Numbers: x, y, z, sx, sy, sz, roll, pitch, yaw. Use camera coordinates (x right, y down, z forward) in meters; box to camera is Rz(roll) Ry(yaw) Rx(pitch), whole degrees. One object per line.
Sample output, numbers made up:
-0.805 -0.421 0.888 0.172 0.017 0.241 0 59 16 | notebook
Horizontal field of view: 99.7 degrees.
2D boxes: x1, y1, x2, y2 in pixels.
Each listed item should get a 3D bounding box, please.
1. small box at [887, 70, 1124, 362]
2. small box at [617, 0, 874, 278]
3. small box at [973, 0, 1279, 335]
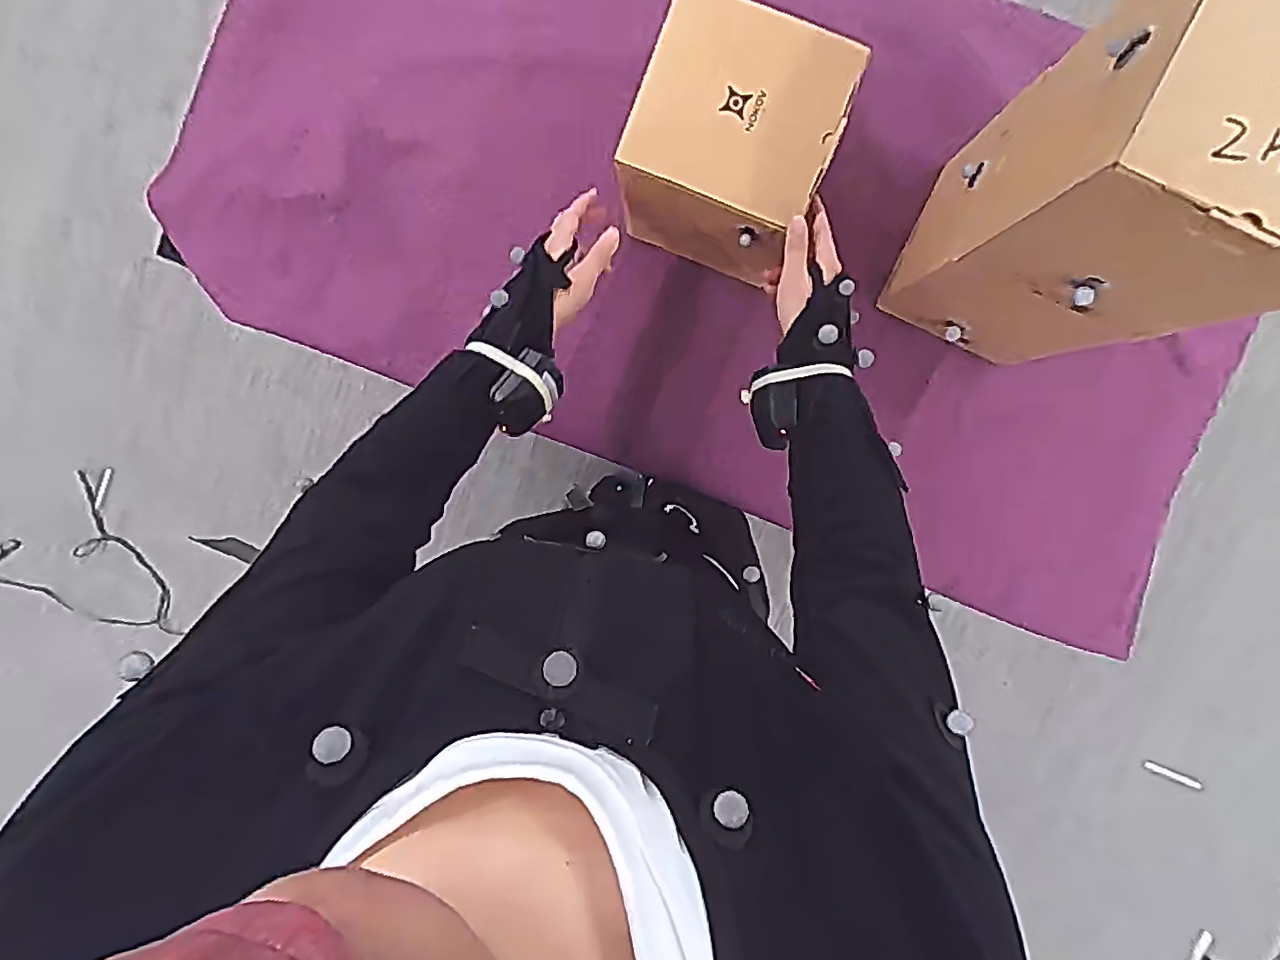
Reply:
0.381 -0.238 0.538 0.168 0.176 0.179 26 95 0 | small box
0.091 -0.327 0.543 0.179 0.176 0.168 22 94 0 | small box
0.378 -0.225 0.374 0.168 0.176 0.179 25 94 1 | small box
